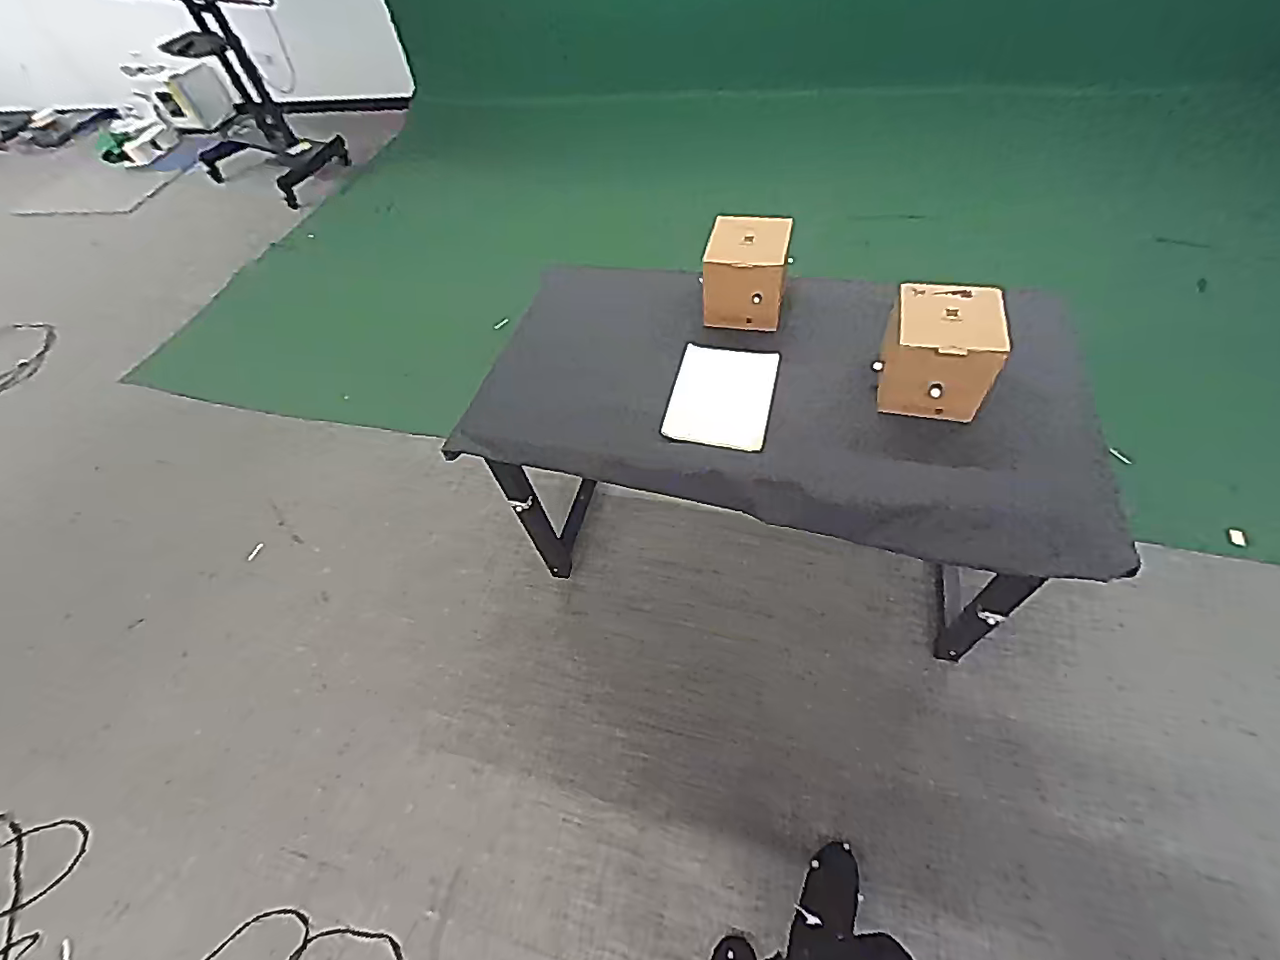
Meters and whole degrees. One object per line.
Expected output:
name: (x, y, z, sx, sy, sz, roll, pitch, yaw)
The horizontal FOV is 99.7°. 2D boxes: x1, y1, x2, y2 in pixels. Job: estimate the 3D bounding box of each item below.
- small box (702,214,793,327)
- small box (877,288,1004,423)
small box: (0.237, -0.461, 1.193, 0.168, 0.176, 0.179, 9, 56, 13)
small box: (0.546, -0.227, 1.001, 0.168, 0.176, 0.179, 10, 58, 14)
